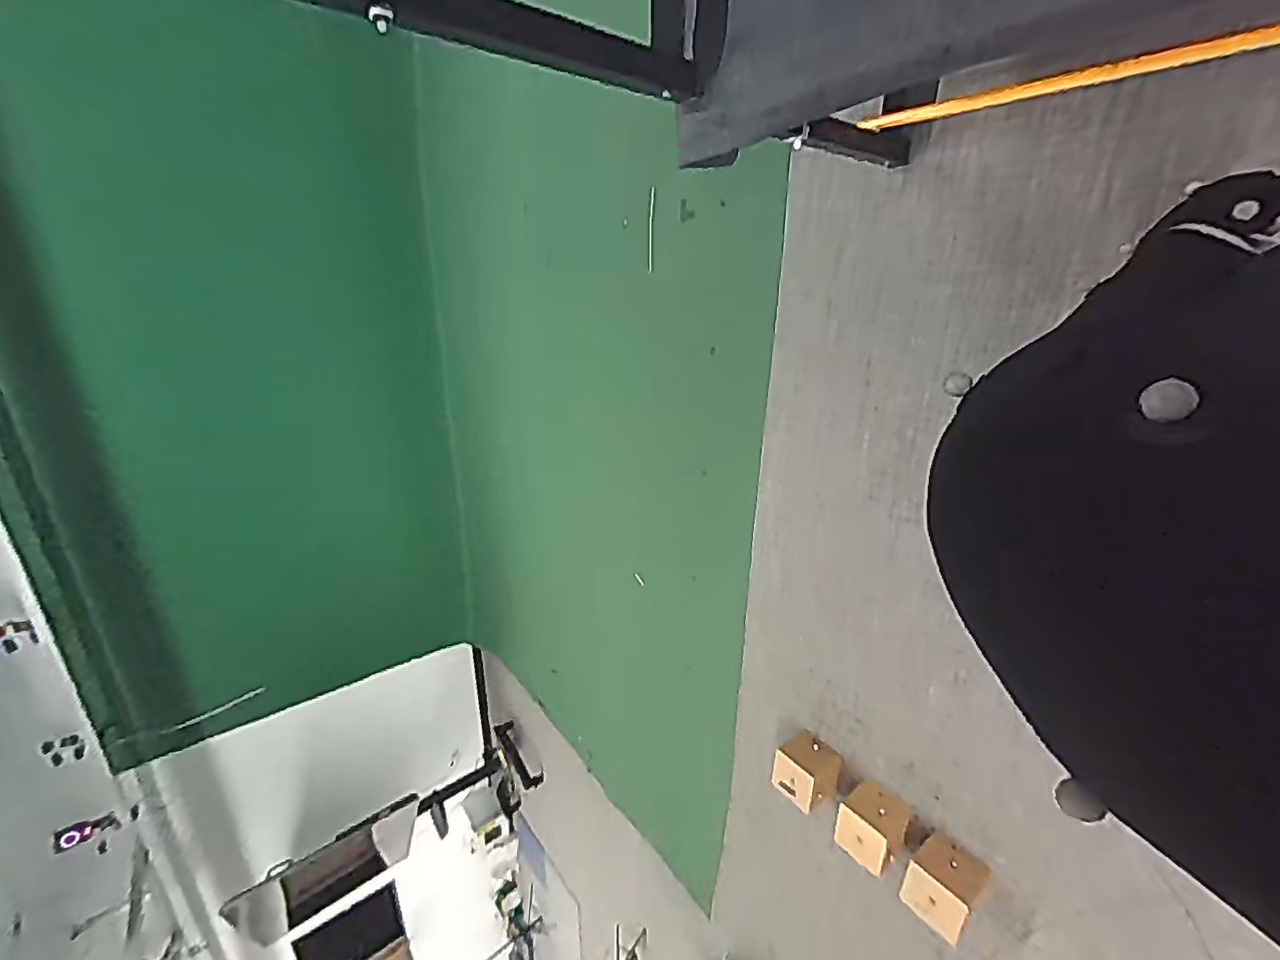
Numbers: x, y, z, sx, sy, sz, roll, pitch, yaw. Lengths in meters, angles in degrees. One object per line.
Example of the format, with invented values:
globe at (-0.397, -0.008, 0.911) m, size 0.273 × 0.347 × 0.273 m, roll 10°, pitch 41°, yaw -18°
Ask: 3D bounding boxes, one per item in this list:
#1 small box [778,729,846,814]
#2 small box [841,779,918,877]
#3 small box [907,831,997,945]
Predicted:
small box at (0.630, 1.057, 1.975) m, size 0.168 × 0.176 × 0.179 m, roll 24°, pitch 120°, yaw 48°
small box at (0.792, 1.138, 1.784) m, size 0.168 × 0.176 × 0.179 m, roll 23°, pitch 120°, yaw 48°
small box at (0.933, 1.205, 1.612) m, size 0.168 × 0.176 × 0.179 m, roll 26°, pitch 122°, yaw 47°
